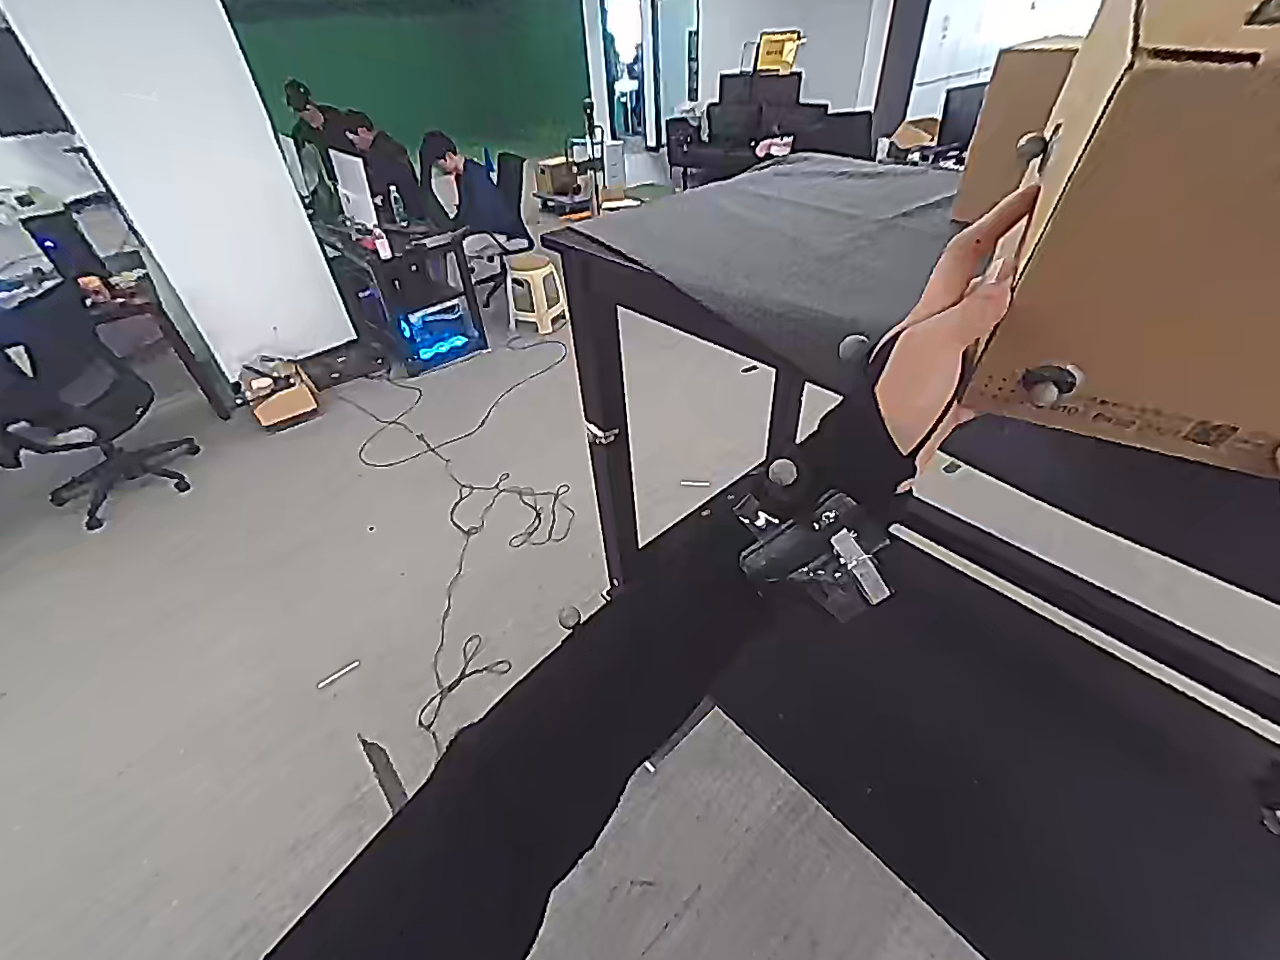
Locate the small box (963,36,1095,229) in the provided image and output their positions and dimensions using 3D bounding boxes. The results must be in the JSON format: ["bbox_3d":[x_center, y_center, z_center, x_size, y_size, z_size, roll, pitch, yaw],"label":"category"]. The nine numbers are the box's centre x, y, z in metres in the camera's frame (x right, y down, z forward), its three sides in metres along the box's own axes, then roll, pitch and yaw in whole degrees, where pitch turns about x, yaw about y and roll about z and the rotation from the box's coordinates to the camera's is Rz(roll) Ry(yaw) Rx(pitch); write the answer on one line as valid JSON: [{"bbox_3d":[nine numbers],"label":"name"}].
[{"bbox_3d":[0.491,-0.377,0.596,0.179,0.176,0.168,-32,48,-29],"label":"small box"}]

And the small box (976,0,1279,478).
[{"bbox_3d":[0.278,-0.124,0.245,0.168,0.176,0.179,19,60,21],"label":"small box"}]
